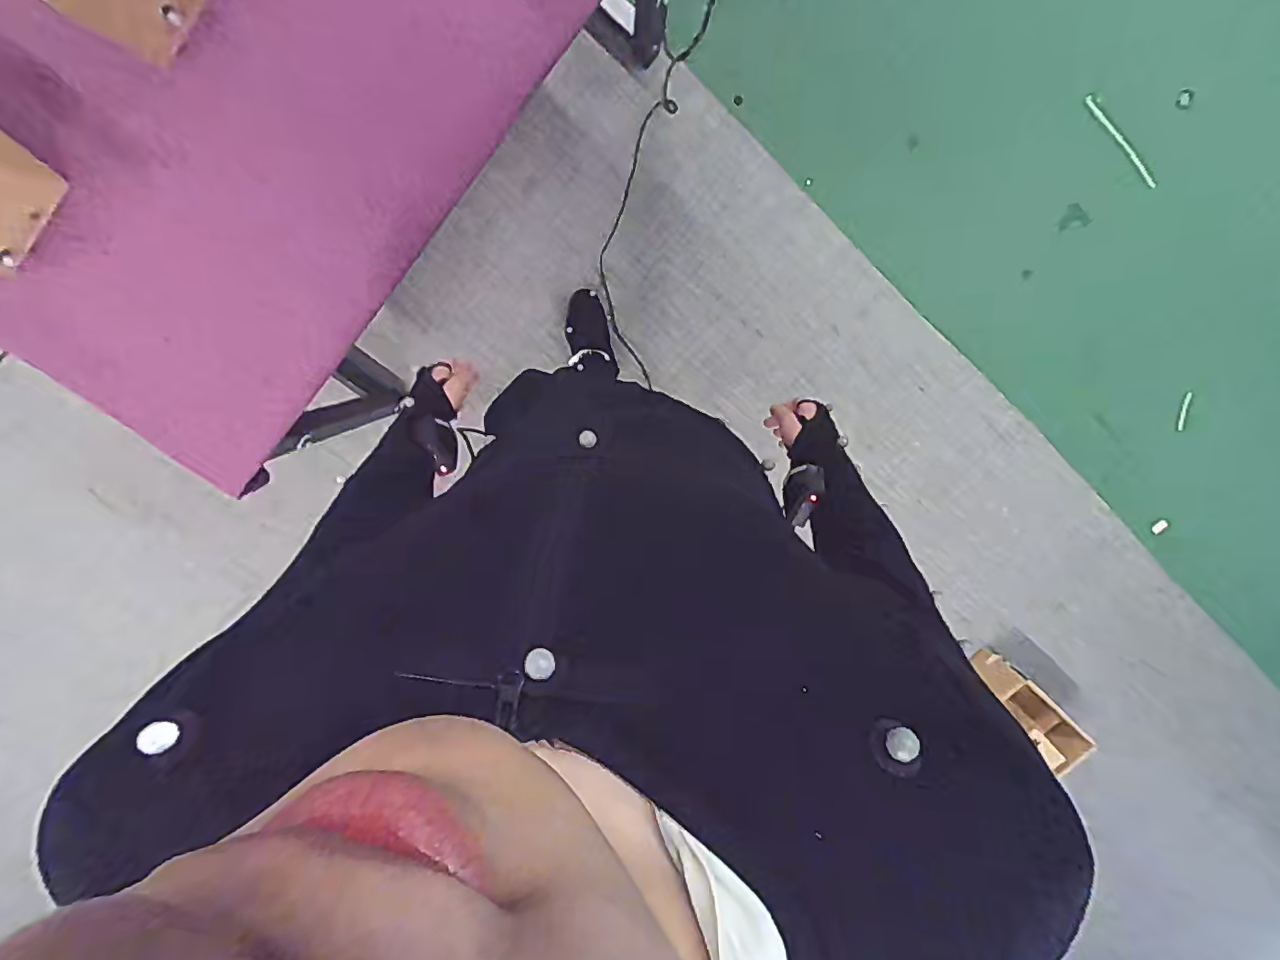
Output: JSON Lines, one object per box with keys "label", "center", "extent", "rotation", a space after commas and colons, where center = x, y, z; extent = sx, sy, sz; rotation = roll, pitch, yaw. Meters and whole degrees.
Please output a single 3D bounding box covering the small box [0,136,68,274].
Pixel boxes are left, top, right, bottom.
{"label": "small box", "center": [-0.901, -0.375, 0.673], "extent": [0.179, 0.176, 0.168], "rotation": [41, 98, -12]}
